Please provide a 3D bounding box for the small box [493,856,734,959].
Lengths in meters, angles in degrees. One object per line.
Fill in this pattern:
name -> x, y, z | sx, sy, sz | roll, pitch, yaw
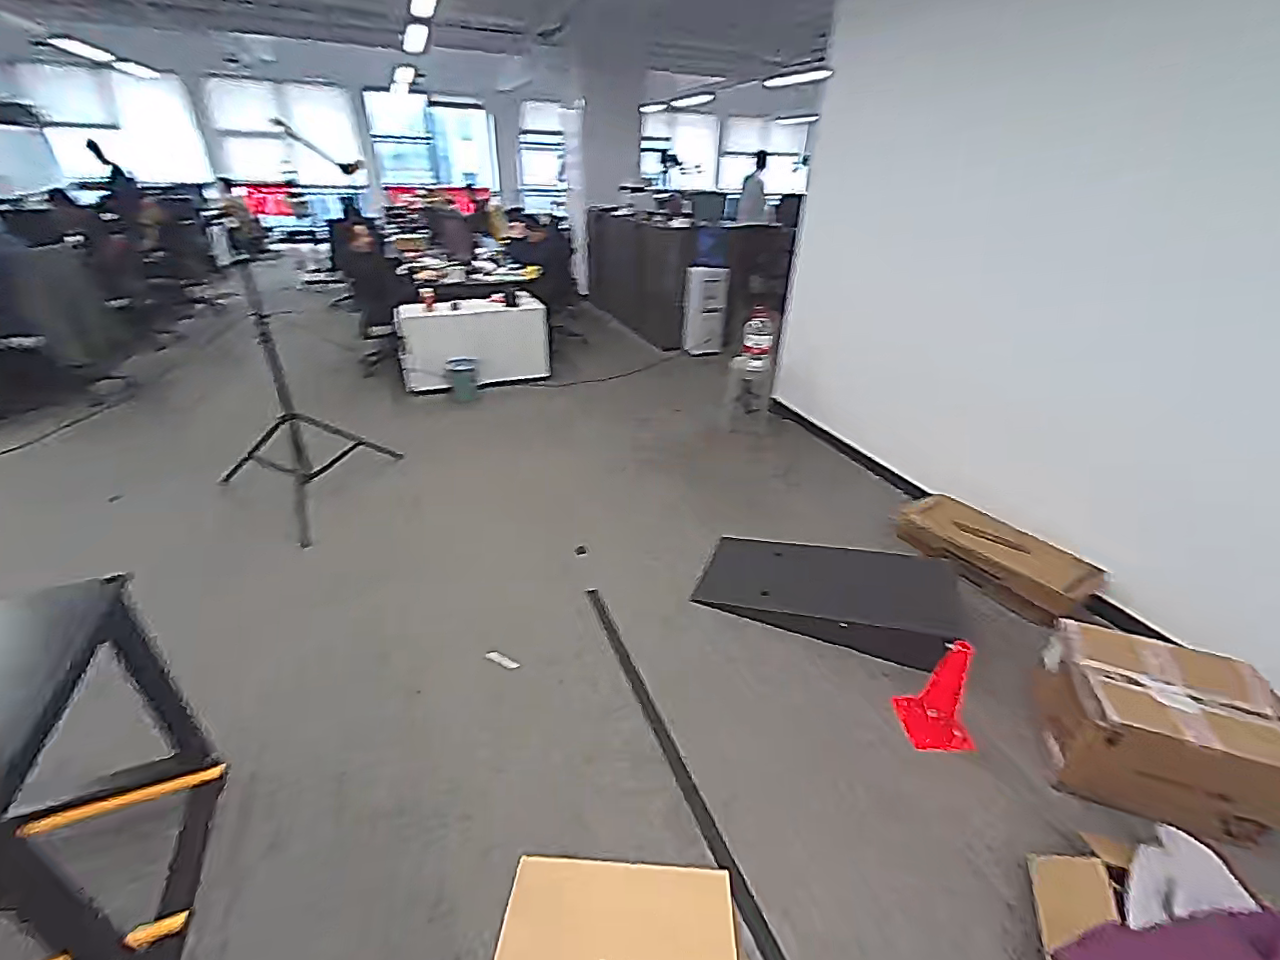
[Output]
small box -> -0.021, 0.405, 0.371 | 0.168, 0.176, 0.179 | 2, 22, 2
